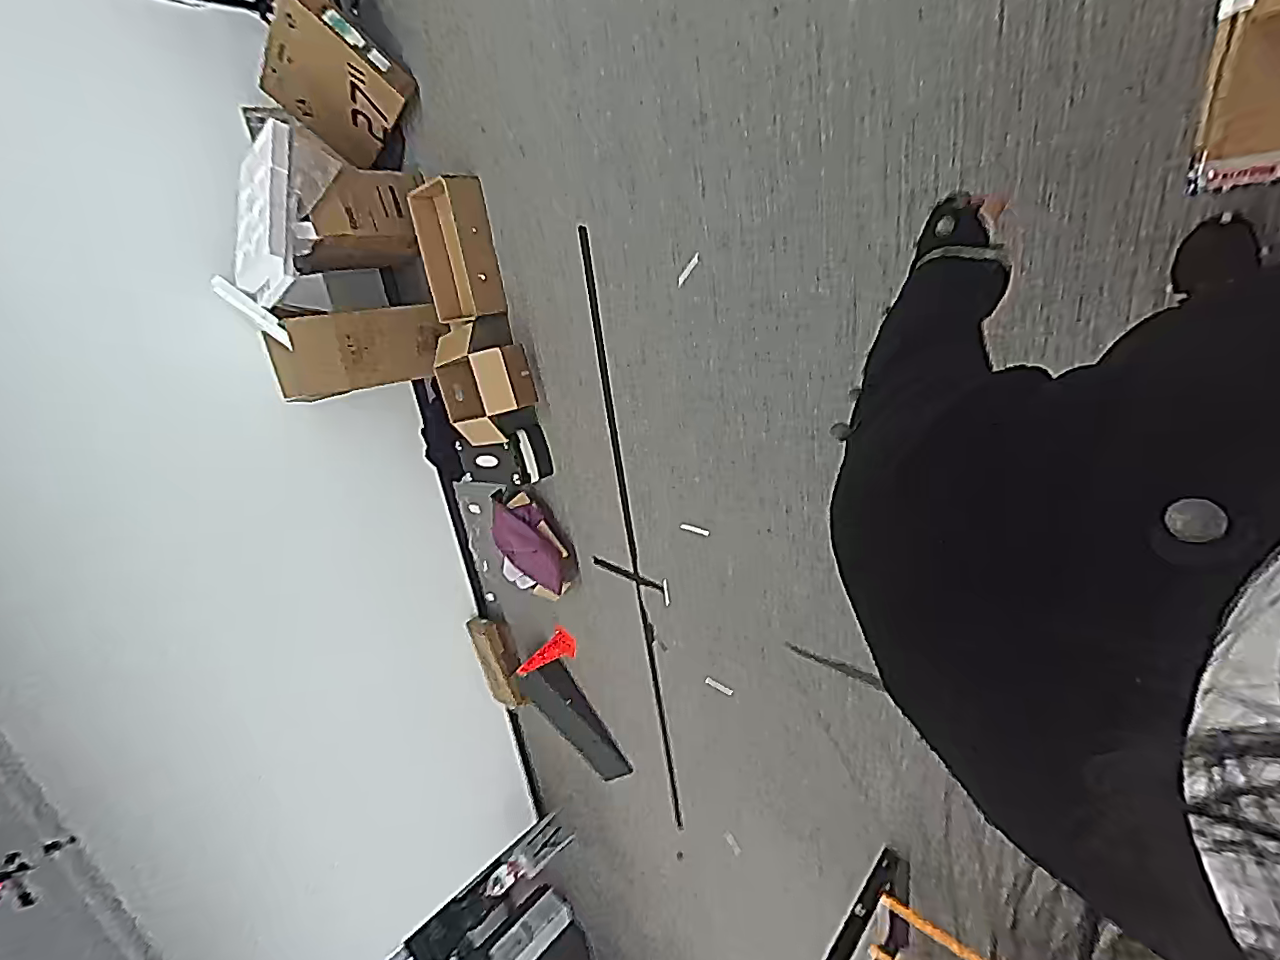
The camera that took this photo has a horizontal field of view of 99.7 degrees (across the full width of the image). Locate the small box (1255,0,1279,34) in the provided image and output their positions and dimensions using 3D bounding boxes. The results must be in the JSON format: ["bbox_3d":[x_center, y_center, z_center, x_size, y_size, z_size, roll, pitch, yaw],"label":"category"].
[{"bbox_3d":[0.664,-0.521,0.457,0.168,0.176,0.179,14,123,46],"label":"small box"}]
